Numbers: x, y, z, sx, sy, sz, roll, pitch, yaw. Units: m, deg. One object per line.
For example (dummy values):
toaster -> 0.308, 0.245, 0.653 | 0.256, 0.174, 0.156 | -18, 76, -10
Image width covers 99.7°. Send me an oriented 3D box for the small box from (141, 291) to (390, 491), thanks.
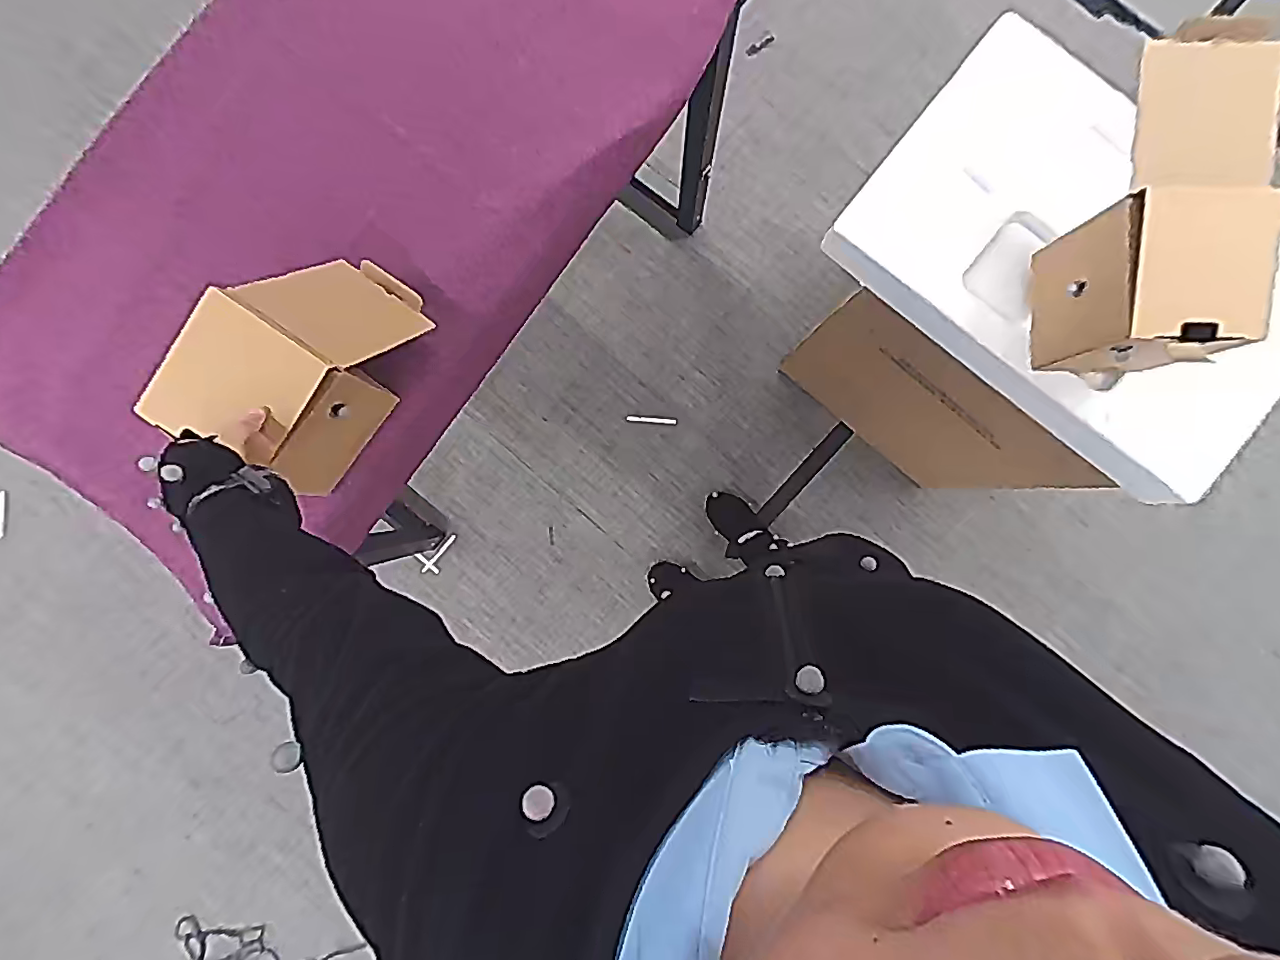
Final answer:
small box -> -0.458, -0.101, 0.700 | 0.168, 0.176, 0.179 | 34, 86, 1
